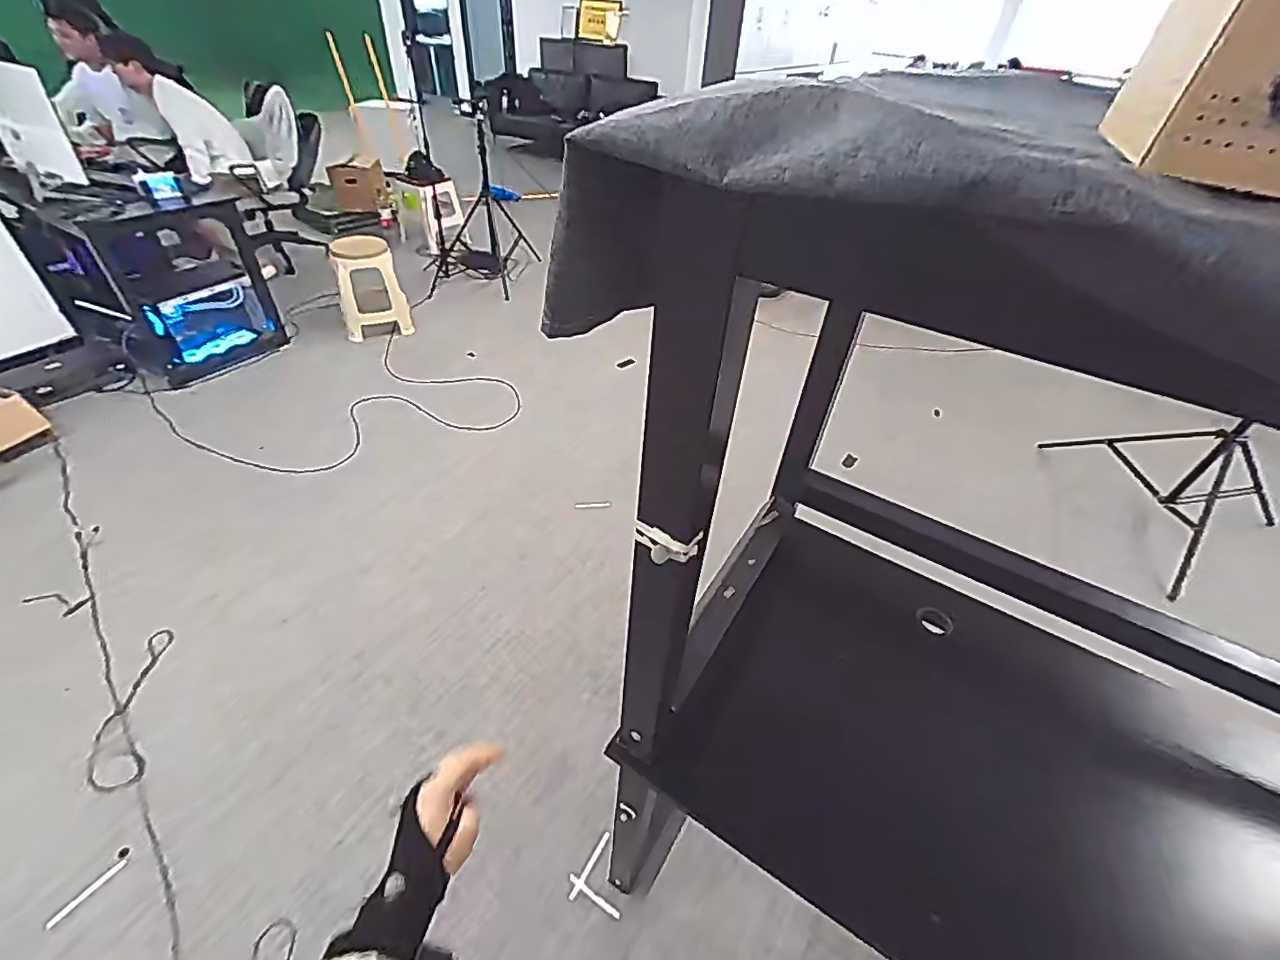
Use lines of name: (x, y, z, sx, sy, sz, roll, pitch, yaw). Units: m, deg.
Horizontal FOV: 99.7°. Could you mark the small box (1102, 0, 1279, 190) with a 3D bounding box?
small box: (0.313, -0.195, 0.192, 0.168, 0.176, 0.179, 24, 43, 19)
